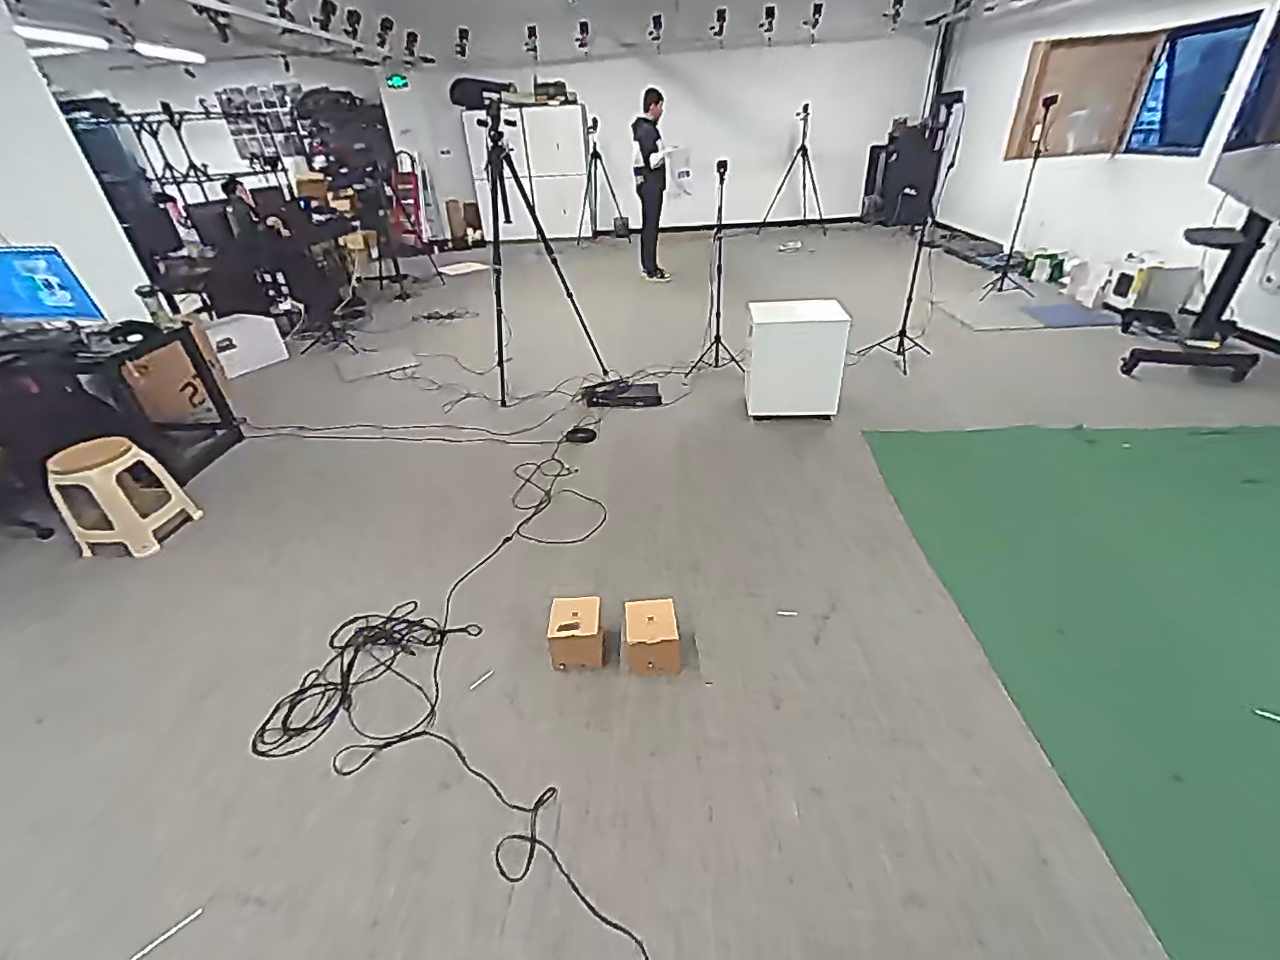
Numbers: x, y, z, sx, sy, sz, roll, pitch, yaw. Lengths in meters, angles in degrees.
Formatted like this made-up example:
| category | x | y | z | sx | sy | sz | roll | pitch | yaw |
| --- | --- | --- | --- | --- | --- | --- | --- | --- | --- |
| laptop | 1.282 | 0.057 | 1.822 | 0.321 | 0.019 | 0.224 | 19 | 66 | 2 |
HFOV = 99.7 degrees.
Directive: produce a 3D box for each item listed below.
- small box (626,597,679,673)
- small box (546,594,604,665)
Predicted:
| category | x | y | z | sx | sy | sz | roll | pitch | yaw |
| --- | --- | --- | --- | --- | --- | --- | --- | --- | --- |
| small box | 0.039 | 0.519 | 1.812 | 0.168 | 0.176 | 0.179 | -5 | 34 | -1 |
| small box | -0.215 | 0.513 | 1.841 | 0.168 | 0.176 | 0.179 | -3 | 33 | 1 |
